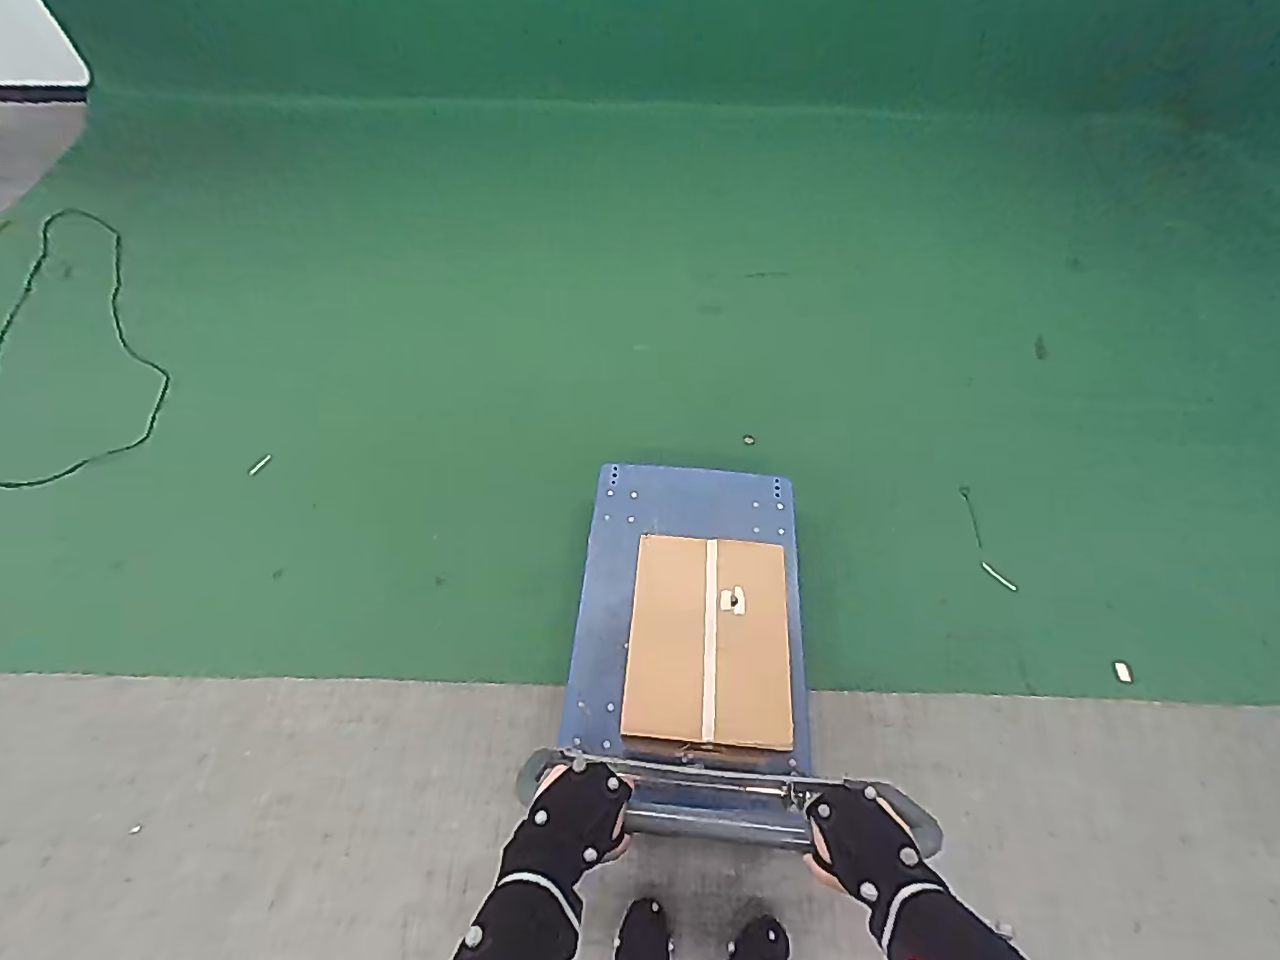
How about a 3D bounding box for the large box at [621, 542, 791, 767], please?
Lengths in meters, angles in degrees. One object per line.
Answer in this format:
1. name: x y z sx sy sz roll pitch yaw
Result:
1. large box: 0.132 0.393 1.201 0.320 0.320 0.408 4 57 2
